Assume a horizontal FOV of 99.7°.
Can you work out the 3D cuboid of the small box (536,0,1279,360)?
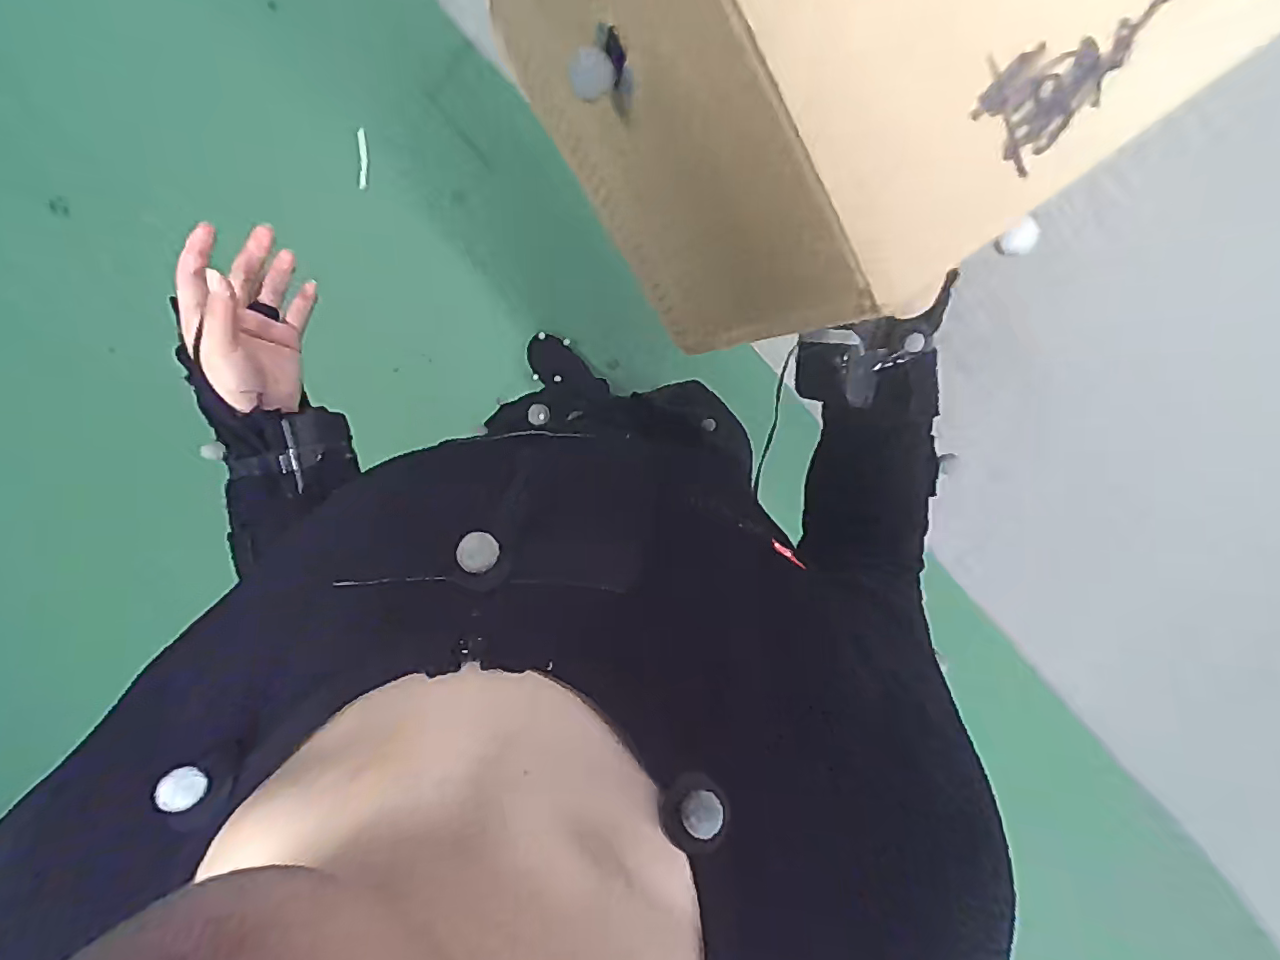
[{"bbox_3d":[0.071,-0.164,0.211,0.168,0.176,0.179,-36,104,-5],"label":"small box"}]
